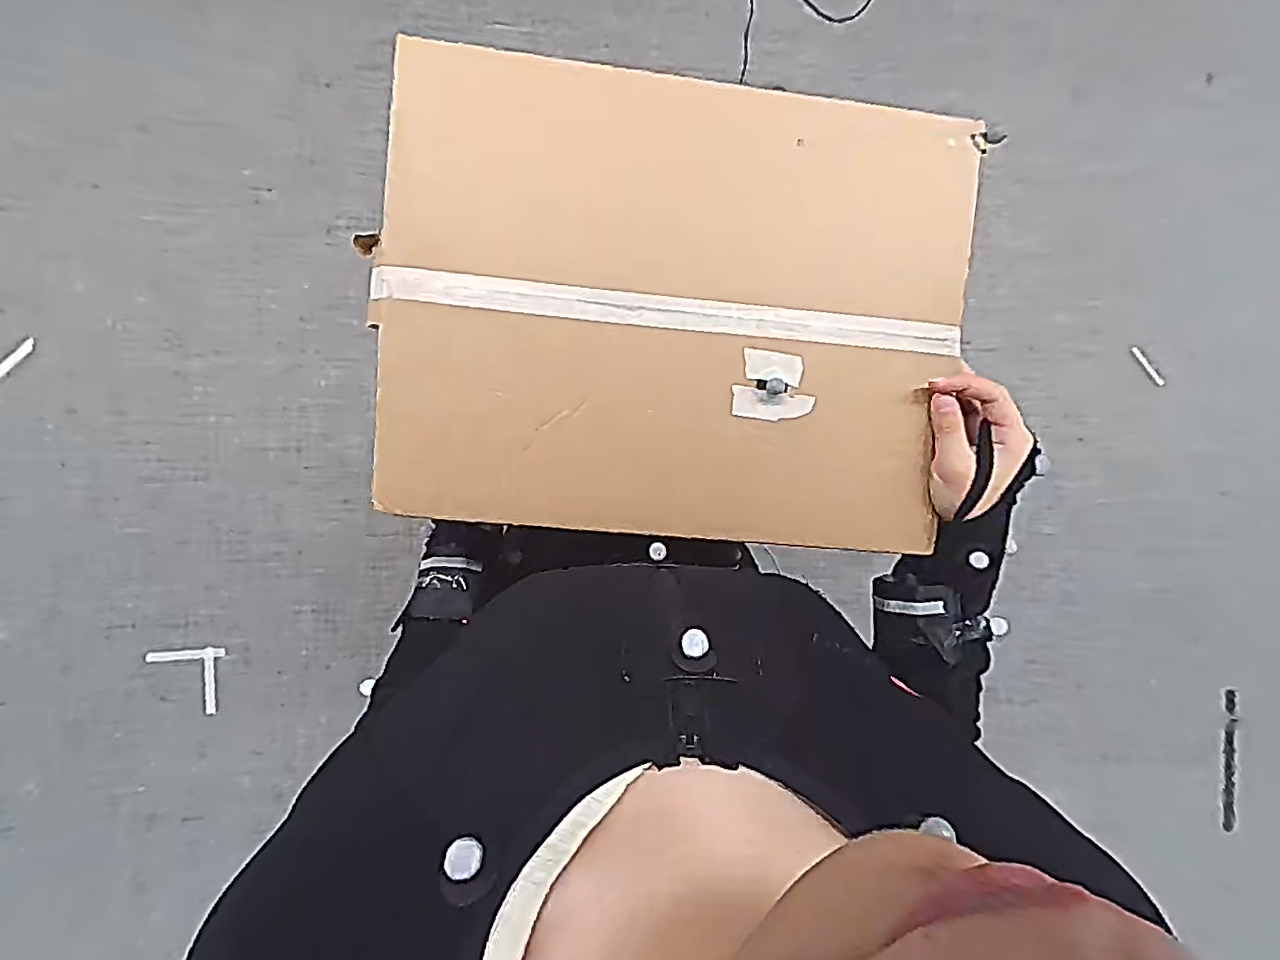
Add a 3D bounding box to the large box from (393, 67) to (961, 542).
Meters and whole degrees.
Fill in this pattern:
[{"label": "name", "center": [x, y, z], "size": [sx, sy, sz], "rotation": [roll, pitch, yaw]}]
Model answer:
[{"label": "large box", "center": [0.017, -0.123, 0.535], "size": [0.408, 0.320, 0.320], "rotation": [4, 94, -6]}]
